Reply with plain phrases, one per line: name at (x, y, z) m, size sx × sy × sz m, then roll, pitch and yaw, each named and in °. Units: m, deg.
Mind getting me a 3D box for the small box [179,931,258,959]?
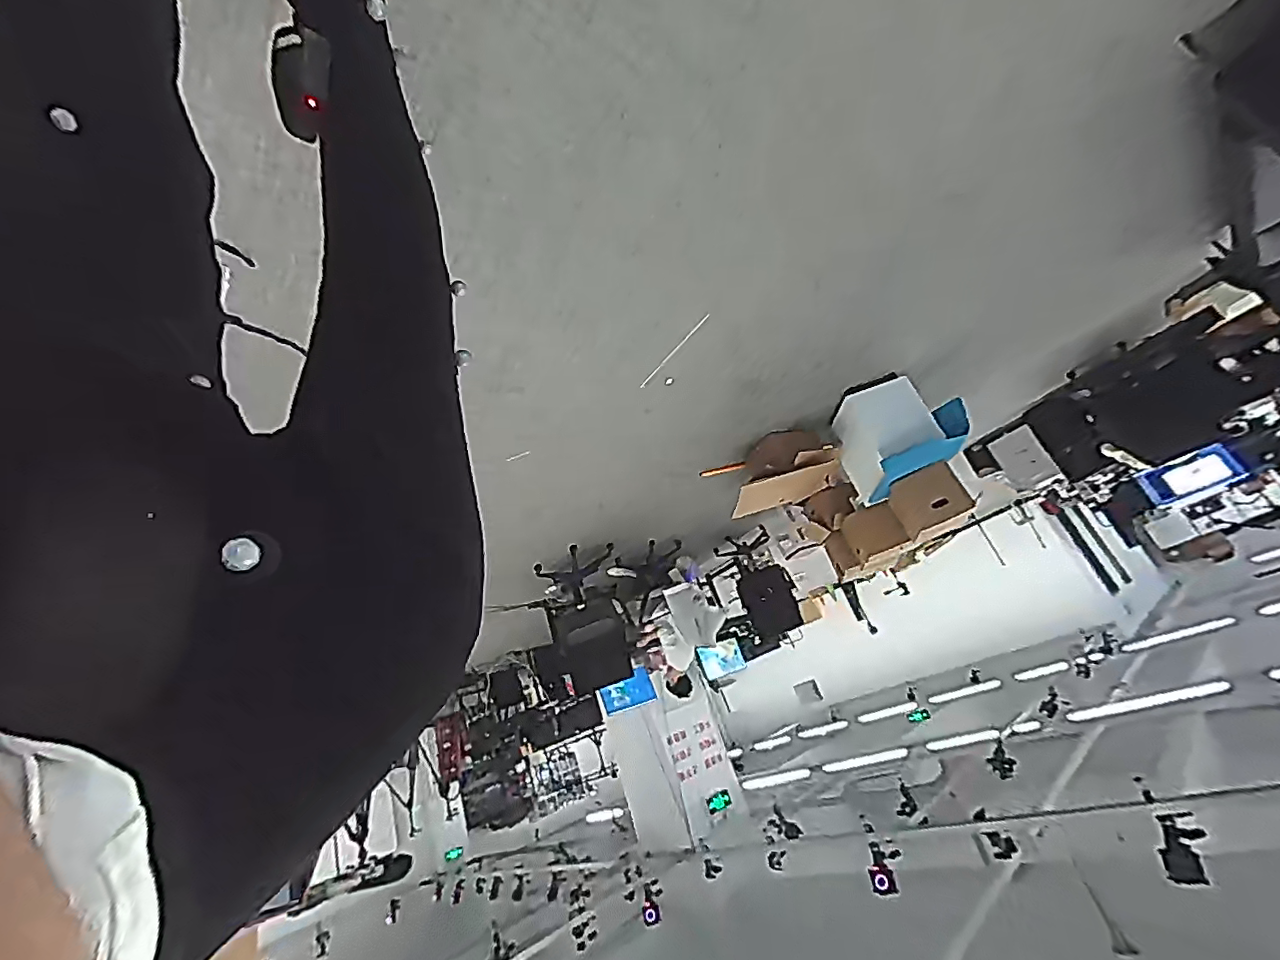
small box at (-1.166, 1.382, 1.494) m, size 0.179 × 0.176 × 0.168 m, roll 0°, pitch 149°, yaw -38°
